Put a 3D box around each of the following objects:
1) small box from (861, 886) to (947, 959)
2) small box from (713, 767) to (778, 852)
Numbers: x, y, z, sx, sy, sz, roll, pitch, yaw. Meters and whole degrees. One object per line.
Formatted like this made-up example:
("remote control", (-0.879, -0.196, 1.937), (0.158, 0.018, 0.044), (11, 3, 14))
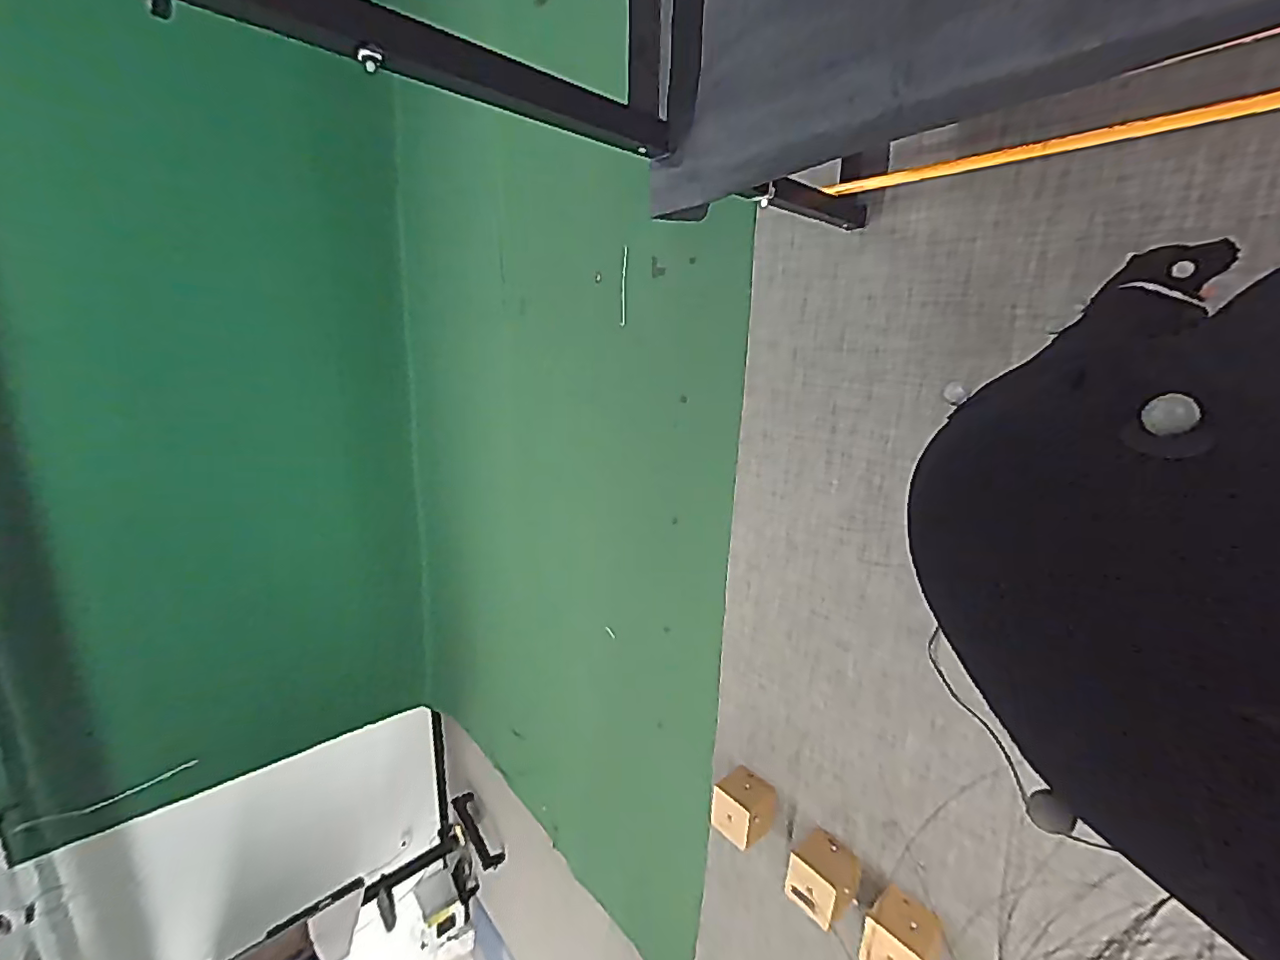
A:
("small box", (0.779, 1.361, 1.590), (0.168, 0.176, 0.179), (17, 111, 46))
("small box", (0.393, 1.217, 2.013), (0.168, 0.176, 0.179), (18, 111, 47))
